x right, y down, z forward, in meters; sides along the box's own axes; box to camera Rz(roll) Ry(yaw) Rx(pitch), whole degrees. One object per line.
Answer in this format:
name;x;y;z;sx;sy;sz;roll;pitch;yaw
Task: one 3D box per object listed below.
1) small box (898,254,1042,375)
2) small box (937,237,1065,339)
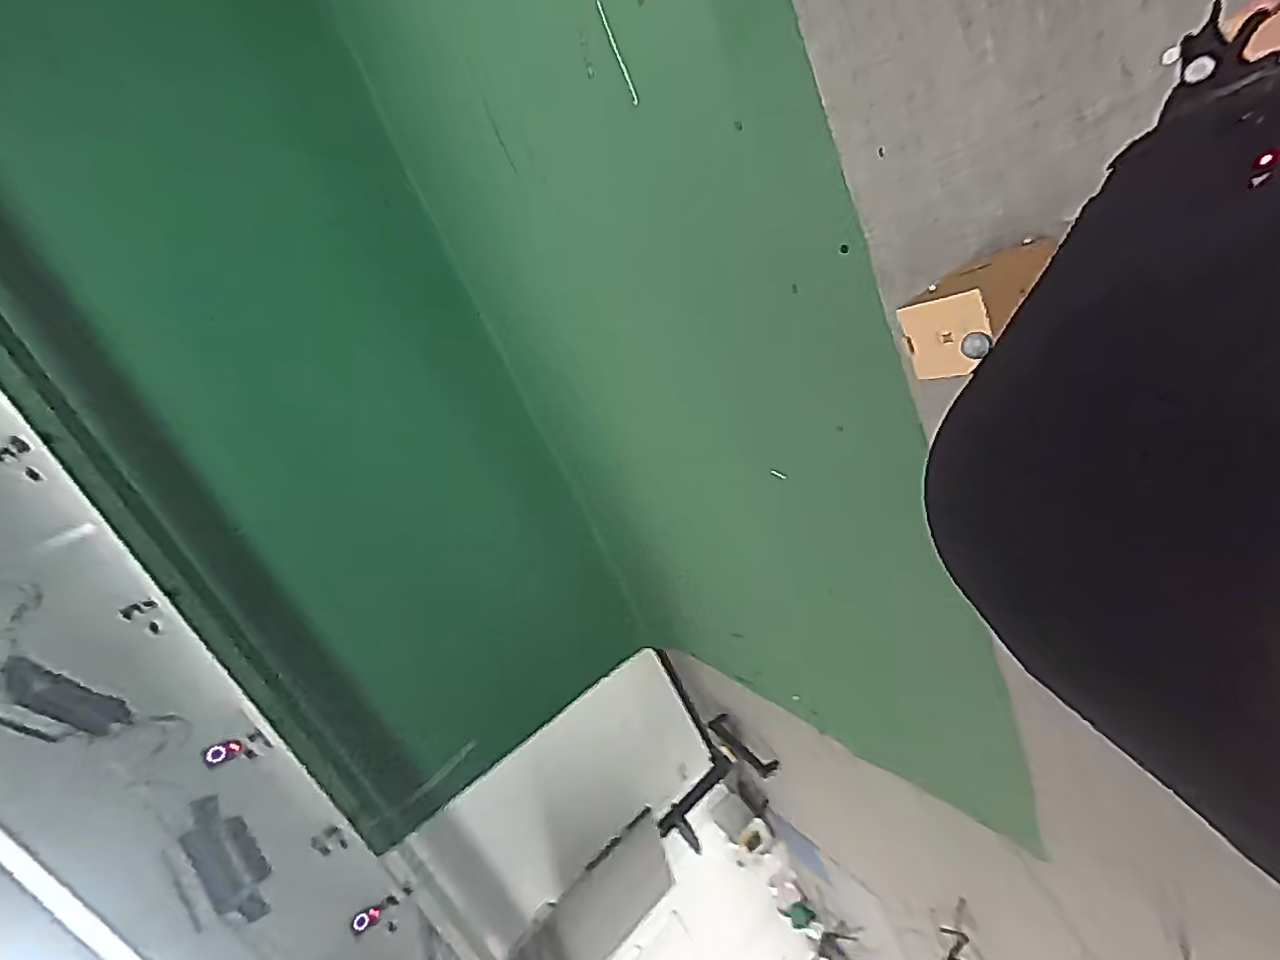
small box;0.677;-0.335;1.112;0.179;0.176;0.168;2;123;61
small box;0.797;-0.413;1.192;0.168;0.176;0.179;9;128;60
